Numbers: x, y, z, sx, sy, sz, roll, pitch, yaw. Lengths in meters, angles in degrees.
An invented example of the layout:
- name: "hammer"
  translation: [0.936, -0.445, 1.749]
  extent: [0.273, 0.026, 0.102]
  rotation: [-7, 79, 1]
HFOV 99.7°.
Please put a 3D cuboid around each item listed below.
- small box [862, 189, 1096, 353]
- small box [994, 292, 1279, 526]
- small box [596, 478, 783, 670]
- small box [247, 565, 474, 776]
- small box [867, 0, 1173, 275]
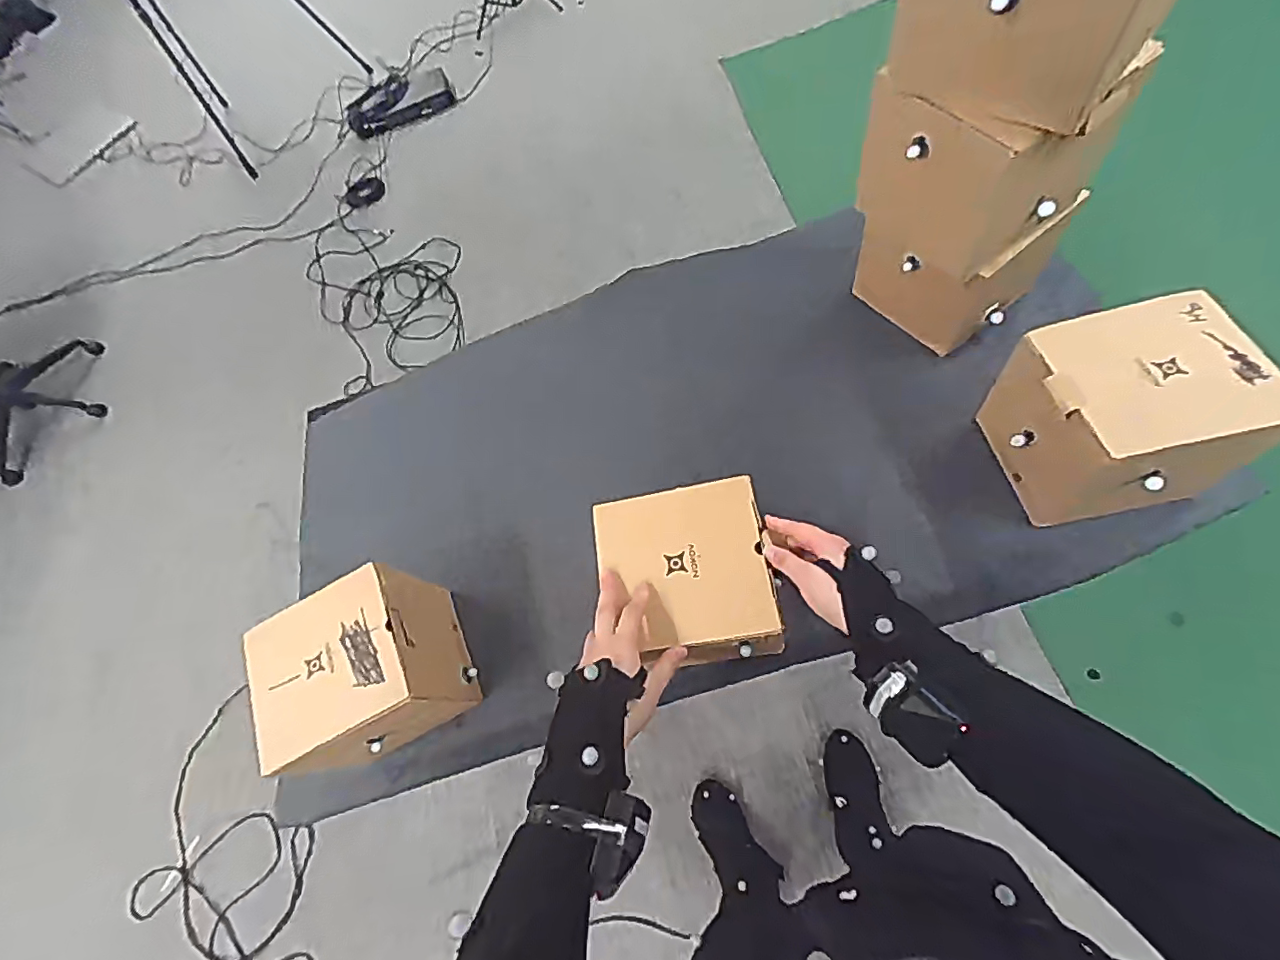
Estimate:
- name: "small box"
  translation: [0.424, -0.305, 0.718]
  extent: [0.168, 0.176, 0.179]
  rotation: [-39, 66, -2]
- name: "small box"
  translation: [0.520, -0.065, 0.588]
  extent: [0.179, 0.176, 0.168]
  rotation: [-13, 61, 8]
- name: "small box"
  translation: [0.061, 0.118, 0.622]
  extent: [0.179, 0.176, 0.168]
  rotation: [-12, 65, 9]
- name: "small box"
  translation: [-0.324, 0.229, 0.659]
  extent: [0.179, 0.176, 0.168]
  rotation: [-28, 65, 0]
- name: "small box"
  translation: [0.368, -0.358, 0.571]
  extent: [0.168, 0.176, 0.179]
  rotation: [-36, 65, 0]
